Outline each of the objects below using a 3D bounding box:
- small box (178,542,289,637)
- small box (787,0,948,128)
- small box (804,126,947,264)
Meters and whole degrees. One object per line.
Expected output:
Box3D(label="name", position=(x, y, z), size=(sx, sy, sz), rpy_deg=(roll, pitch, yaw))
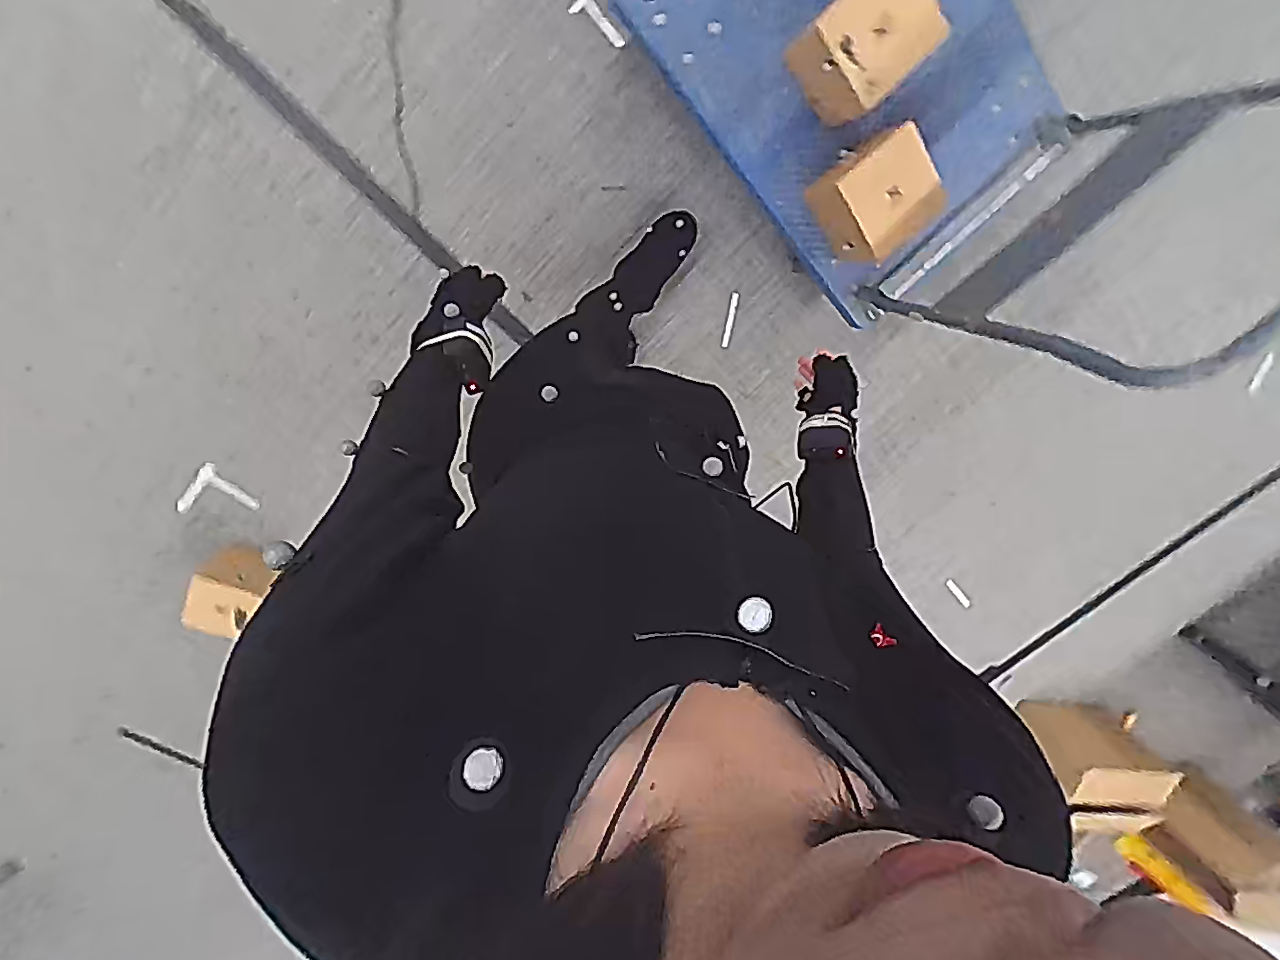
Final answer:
Box3D(label="small box", position=(-1.111, 0.296, 1.491), size=(0.179, 0.176, 0.168), rpy_deg=(24, 109, -16))
Box3D(label="small box", position=(0.401, -0.785, 0.979), size=(0.179, 0.176, 0.168), rpy_deg=(-41, 111, 10))
Box3D(label="small box", position=(0.465, -0.562, 1.087), size=(0.168, 0.176, 0.179), rpy_deg=(-39, 111, 8))
